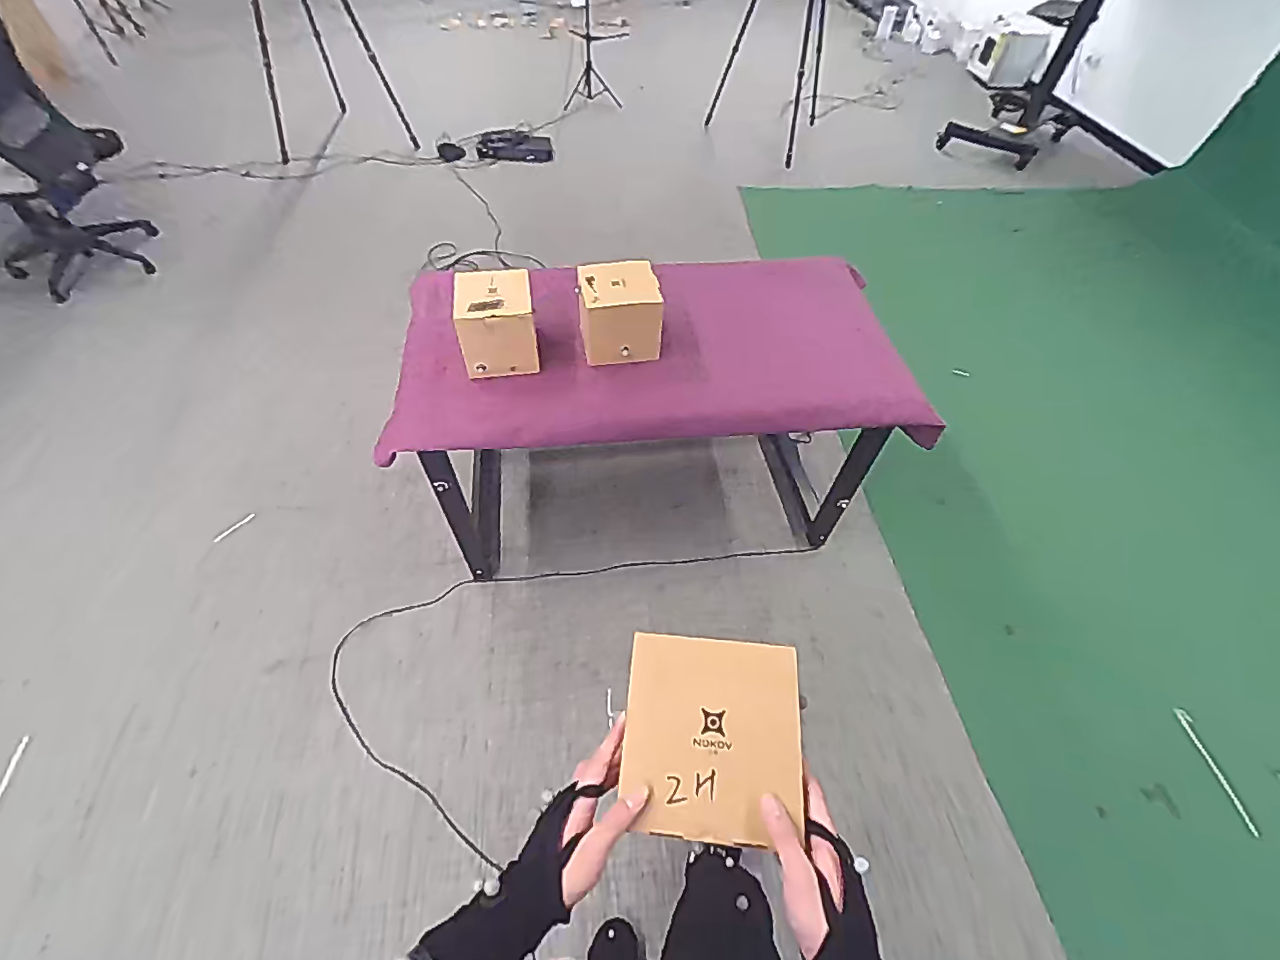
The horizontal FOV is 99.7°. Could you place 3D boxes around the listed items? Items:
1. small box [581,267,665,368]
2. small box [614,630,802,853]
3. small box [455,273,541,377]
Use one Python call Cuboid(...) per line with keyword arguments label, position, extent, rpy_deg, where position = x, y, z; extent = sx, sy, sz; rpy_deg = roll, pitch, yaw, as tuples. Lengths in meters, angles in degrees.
Cuboid(label="small box", position=(-0.047, -0.386, 1.295), extent=(0.179, 0.176, 0.168), rpy_deg=(-7, 53, -9))
Cuboid(label="small box", position=(0.068, 0.276, 0.575), extent=(0.168, 0.176, 0.179), rpy_deg=(5, 60, 5))
Cuboid(label="small box", position=(-0.324, -0.352, 1.253), extent=(0.168, 0.176, 0.179), rpy_deg=(-7, 52, -8))
